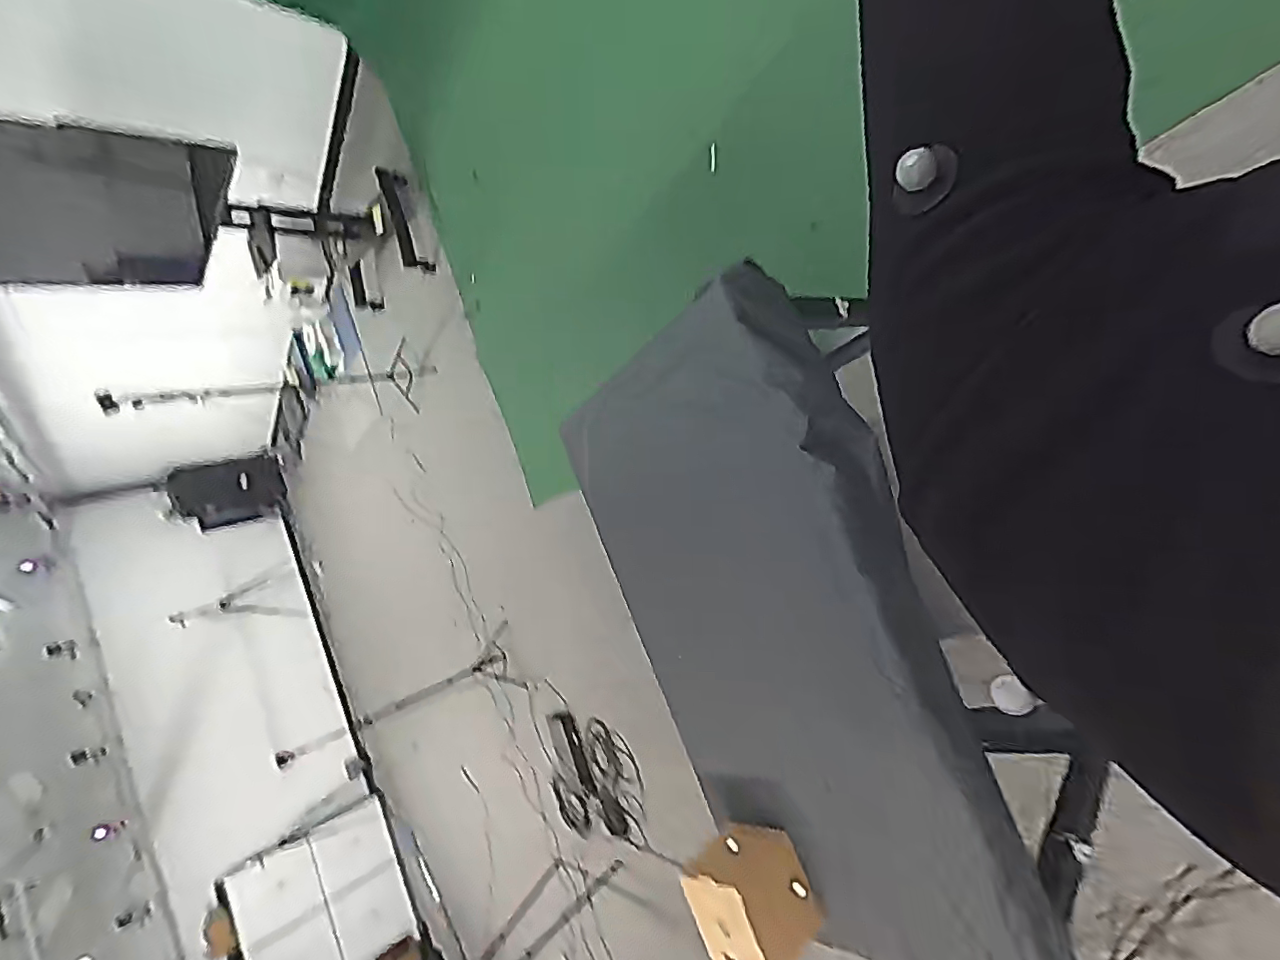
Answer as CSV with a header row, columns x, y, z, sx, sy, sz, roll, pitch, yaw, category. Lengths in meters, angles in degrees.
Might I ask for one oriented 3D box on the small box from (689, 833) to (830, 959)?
x,y,z,sx,sy,sz,roll,pitch,yaw,category
0.233,0.824,1.050,0.168,0.176,0.179,-32,76,47,small box
